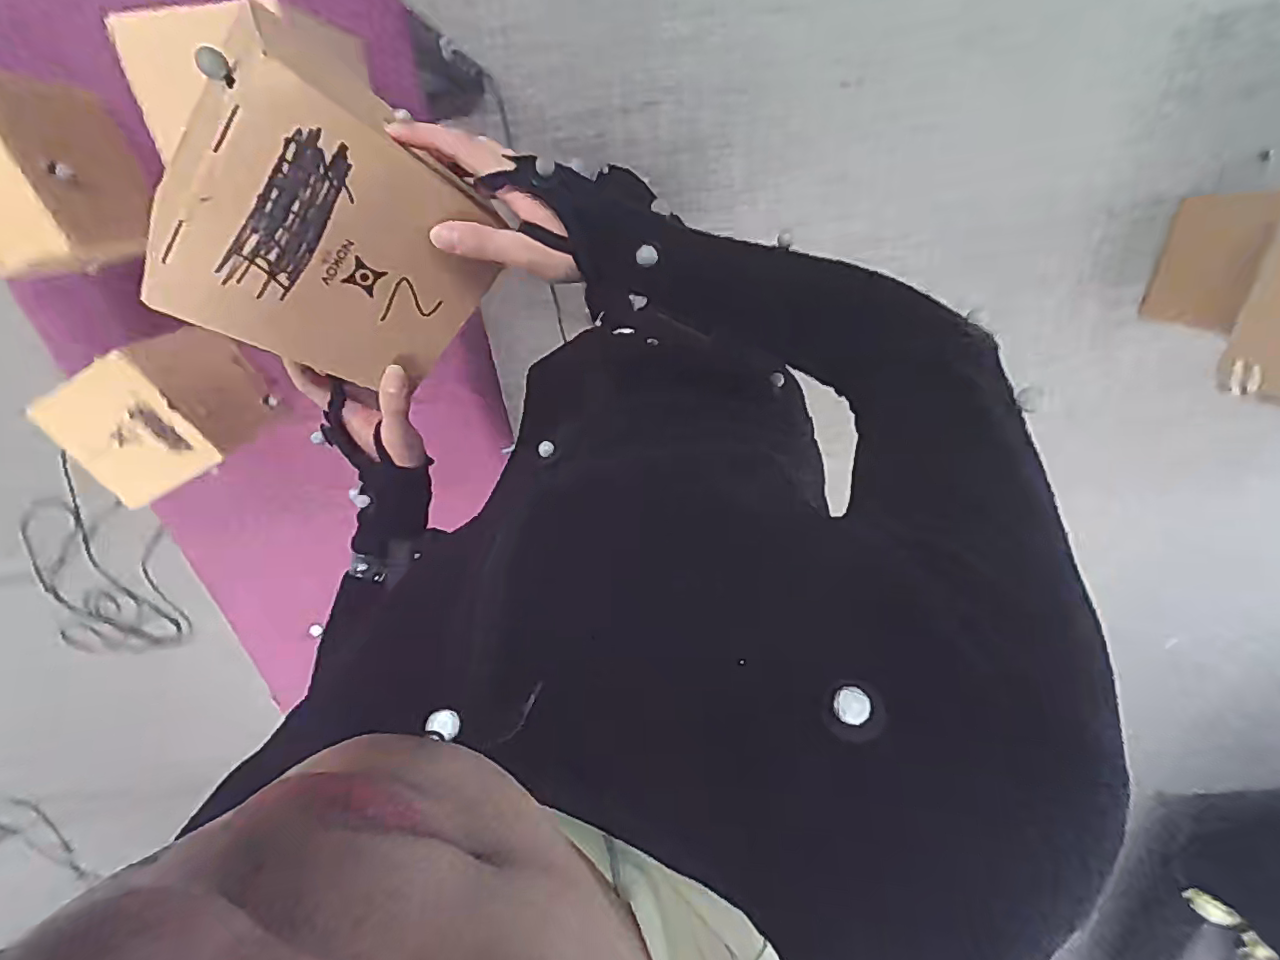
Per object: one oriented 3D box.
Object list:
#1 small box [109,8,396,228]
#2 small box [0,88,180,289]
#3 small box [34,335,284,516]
[{"bbox_3d":[-0.405,-0.387,0.606,0.168,0.176,0.179,-3,118,3],"label":"small box"},{"bbox_3d":[-0.718,-0.336,0.637,0.168,0.176,0.179,-13,119,5],"label":"small box"},{"bbox_3d":[-0.653,-0.084,0.768,0.179,0.176,0.168,-25,115,13],"label":"small box"}]
